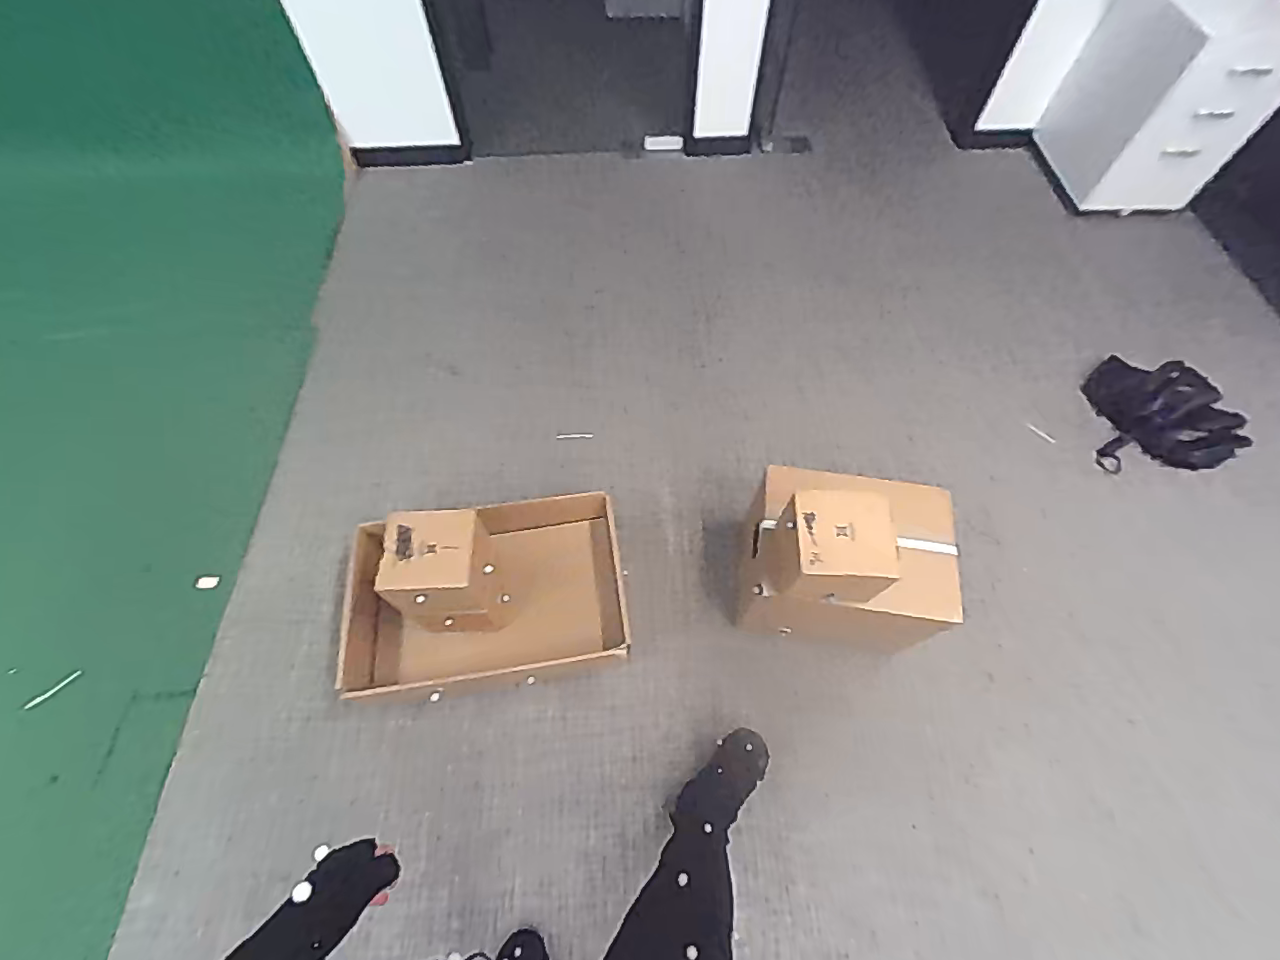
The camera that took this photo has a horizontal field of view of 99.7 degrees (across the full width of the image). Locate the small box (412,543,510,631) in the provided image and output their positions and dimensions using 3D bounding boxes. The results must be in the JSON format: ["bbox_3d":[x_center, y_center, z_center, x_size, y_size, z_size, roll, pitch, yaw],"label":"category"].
[{"bbox_3d":[-0.418,0.258,1.287,0.179,0.176,0.168,0,61,-4],"label":"small box"}]

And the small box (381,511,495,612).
[{"bbox_3d":[-0.416,0.177,1.144,0.179,0.176,0.168,-1,61,-4],"label":"small box"}]

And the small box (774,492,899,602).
[{"bbox_3d":[0.372,0.136,1.053,0.179,0.176,0.168,3,63,1],"label":"small box"}]
